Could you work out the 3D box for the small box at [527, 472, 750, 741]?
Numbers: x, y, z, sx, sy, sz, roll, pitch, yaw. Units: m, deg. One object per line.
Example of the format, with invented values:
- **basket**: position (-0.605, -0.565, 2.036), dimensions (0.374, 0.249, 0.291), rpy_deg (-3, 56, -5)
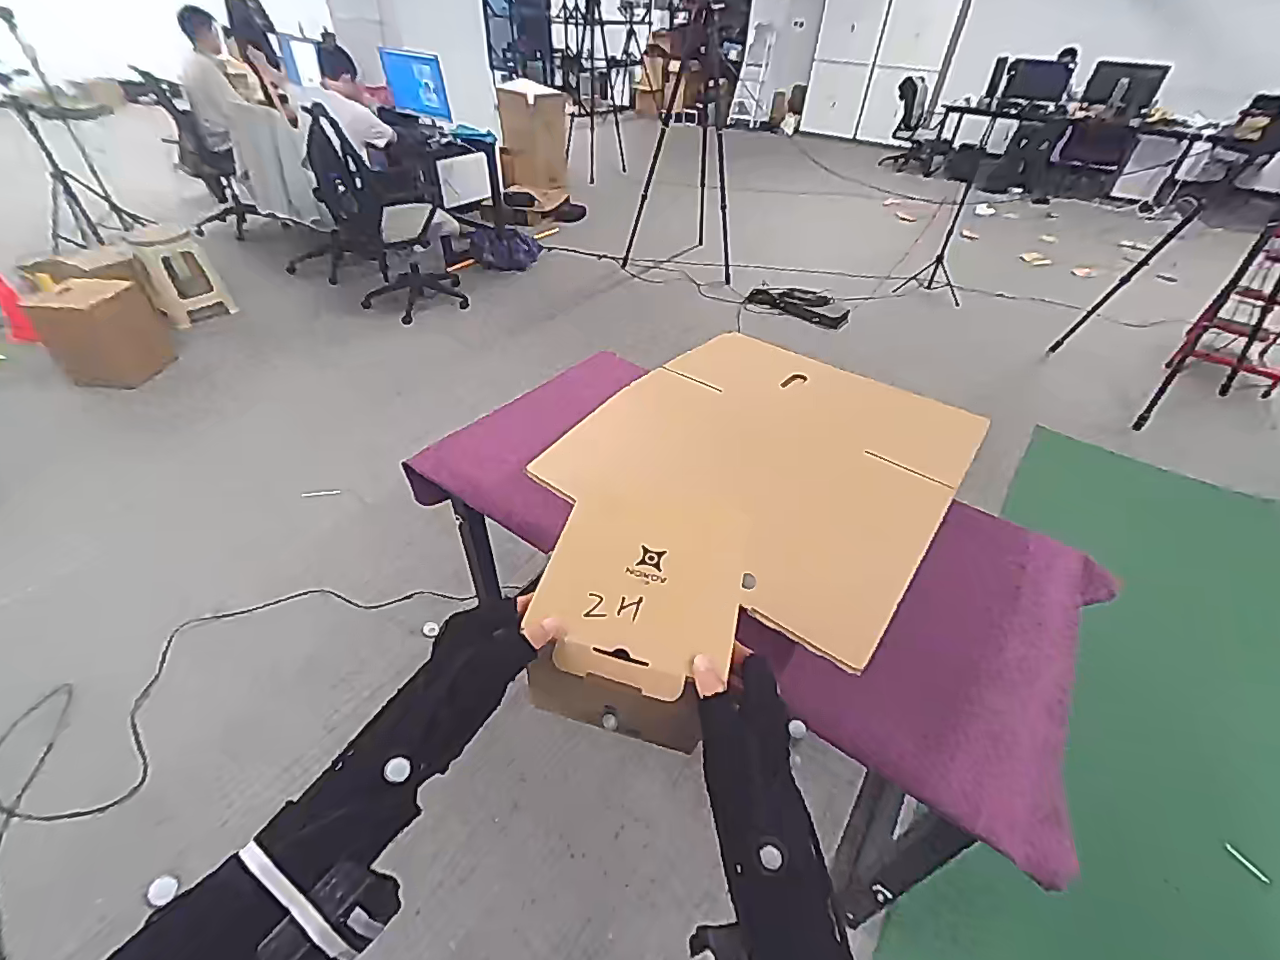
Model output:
- **small box**: position (0.000, 0.125, 0.536), dimensions (0.168, 0.176, 0.179), rpy_deg (14, 48, 7)
